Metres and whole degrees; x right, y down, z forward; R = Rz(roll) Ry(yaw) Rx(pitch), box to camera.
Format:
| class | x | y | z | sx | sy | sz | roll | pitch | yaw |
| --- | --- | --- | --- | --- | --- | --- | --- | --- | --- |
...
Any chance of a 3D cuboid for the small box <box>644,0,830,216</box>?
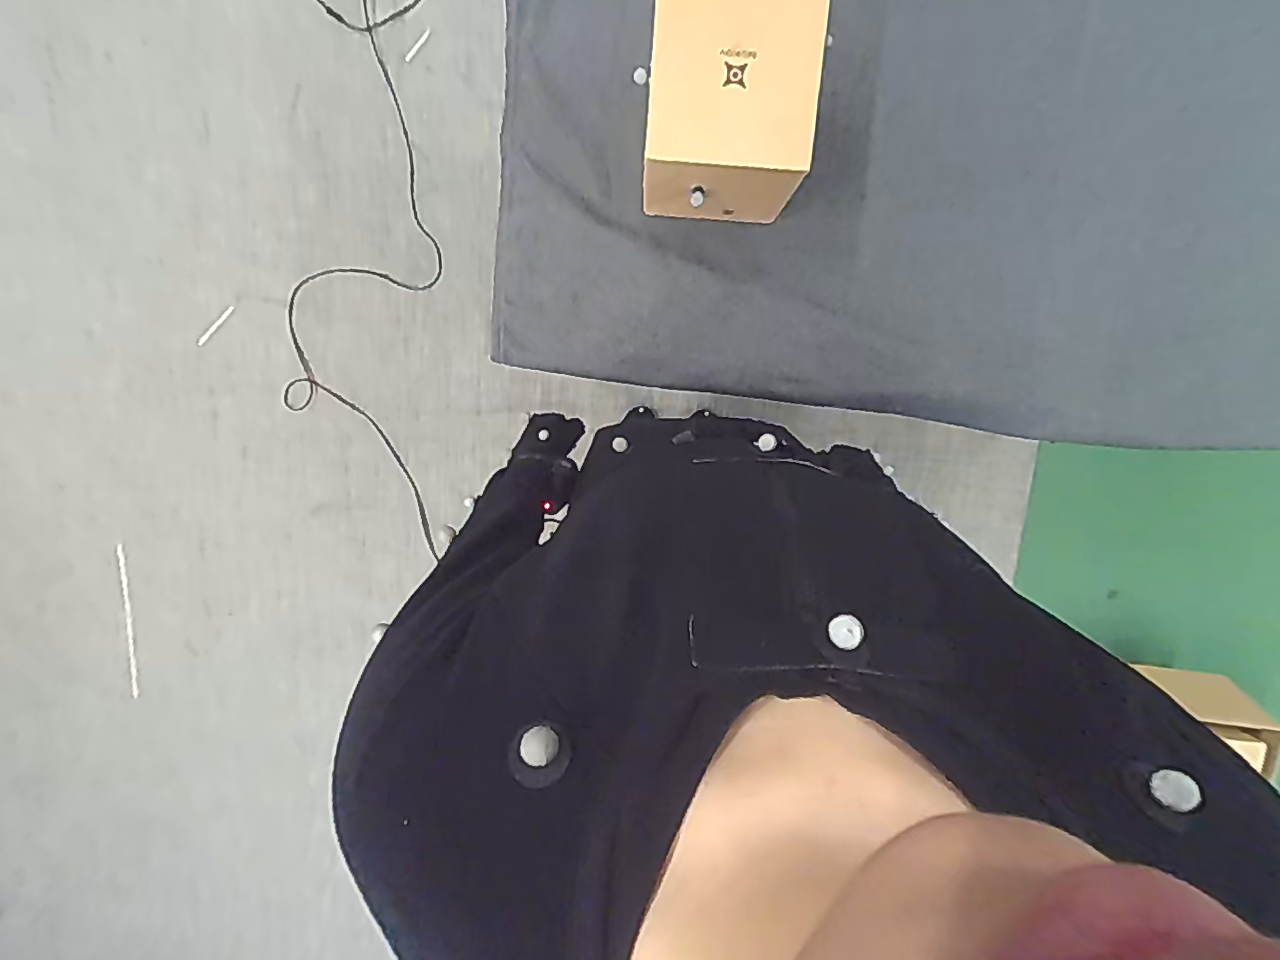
| class | x | y | z | sx | sy | sz | roll | pitch | yaw |
| --- | --- | --- | --- | --- | --- | --- | --- | --- | --- |
| small box | 0.094 | -0.408 | 0.593 | 0.168 | 0.176 | 0.179 | 4 | 98 | 1 |
